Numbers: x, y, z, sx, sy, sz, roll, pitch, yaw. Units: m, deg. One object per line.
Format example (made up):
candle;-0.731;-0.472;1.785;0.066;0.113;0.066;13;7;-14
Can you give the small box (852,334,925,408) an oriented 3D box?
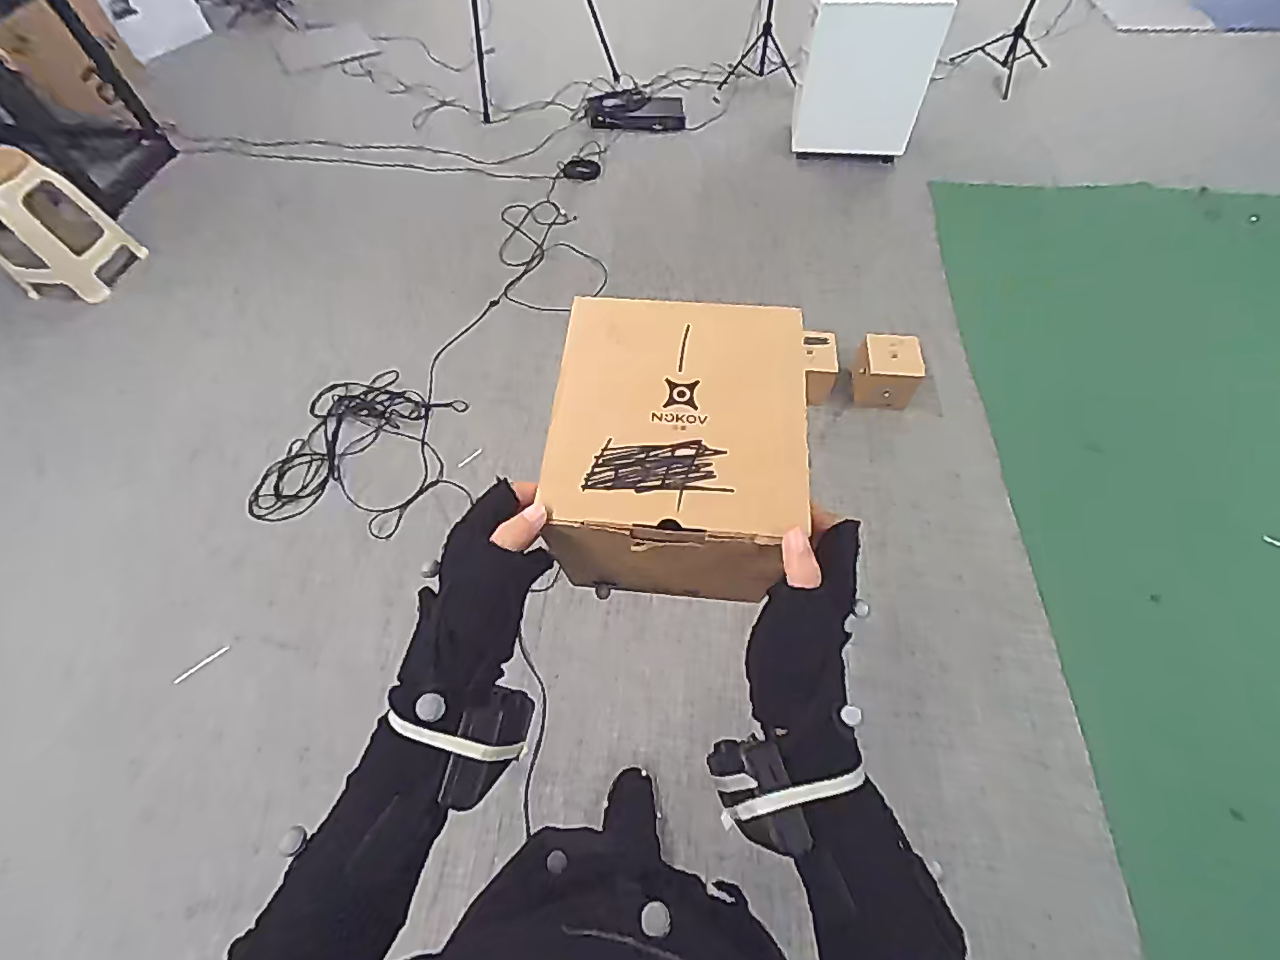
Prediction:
small box;0.807;-0.353;1.772;0.168;0.176;0.179;5;59;5
